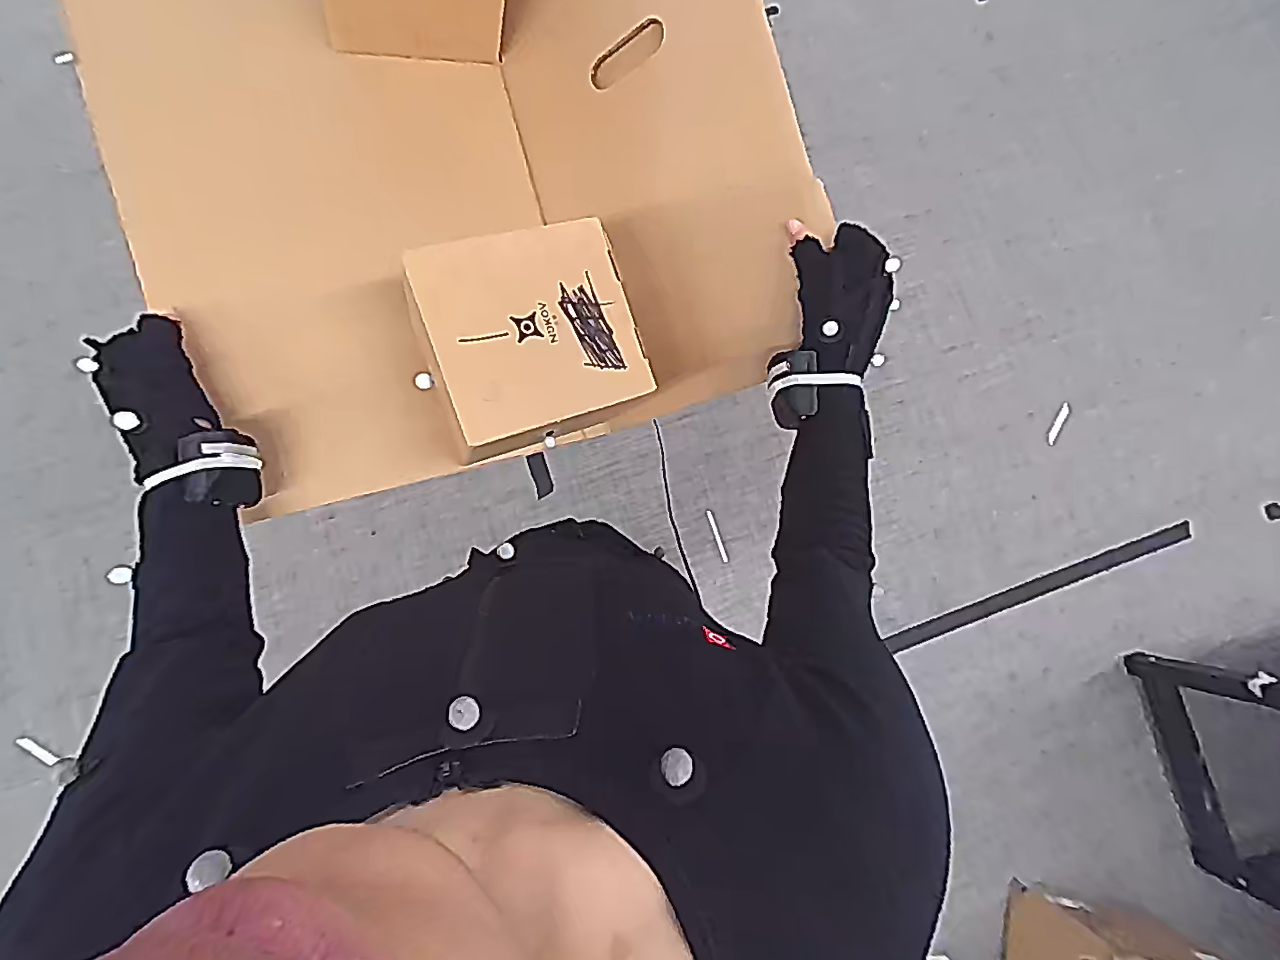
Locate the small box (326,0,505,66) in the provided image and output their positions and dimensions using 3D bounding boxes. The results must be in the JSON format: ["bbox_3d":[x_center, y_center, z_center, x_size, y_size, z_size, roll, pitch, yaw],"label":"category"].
[{"bbox_3d":[-0.231,-0.553,0.533,0.179,0.176,0.168,-11,89,-21],"label":"small box"}]
